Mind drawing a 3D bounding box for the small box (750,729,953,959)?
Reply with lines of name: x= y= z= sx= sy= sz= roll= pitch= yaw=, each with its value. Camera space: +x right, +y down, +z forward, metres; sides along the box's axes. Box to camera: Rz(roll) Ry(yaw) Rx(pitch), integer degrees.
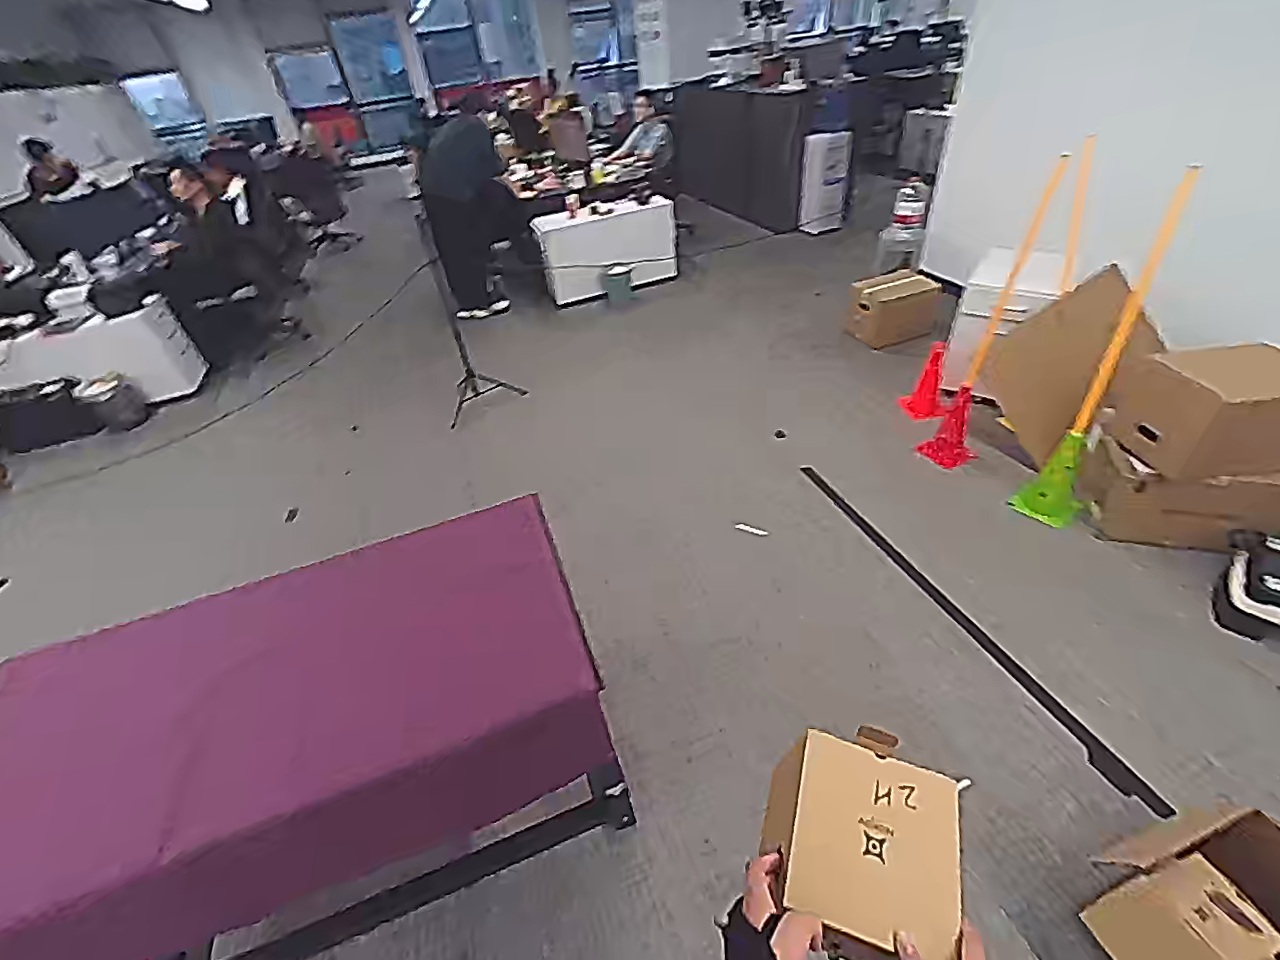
small box: x=0.230 y=0.423 z=0.614 sx=0.168 sy=0.176 sz=0.179 roll=16 pitch=48 yaw=10
